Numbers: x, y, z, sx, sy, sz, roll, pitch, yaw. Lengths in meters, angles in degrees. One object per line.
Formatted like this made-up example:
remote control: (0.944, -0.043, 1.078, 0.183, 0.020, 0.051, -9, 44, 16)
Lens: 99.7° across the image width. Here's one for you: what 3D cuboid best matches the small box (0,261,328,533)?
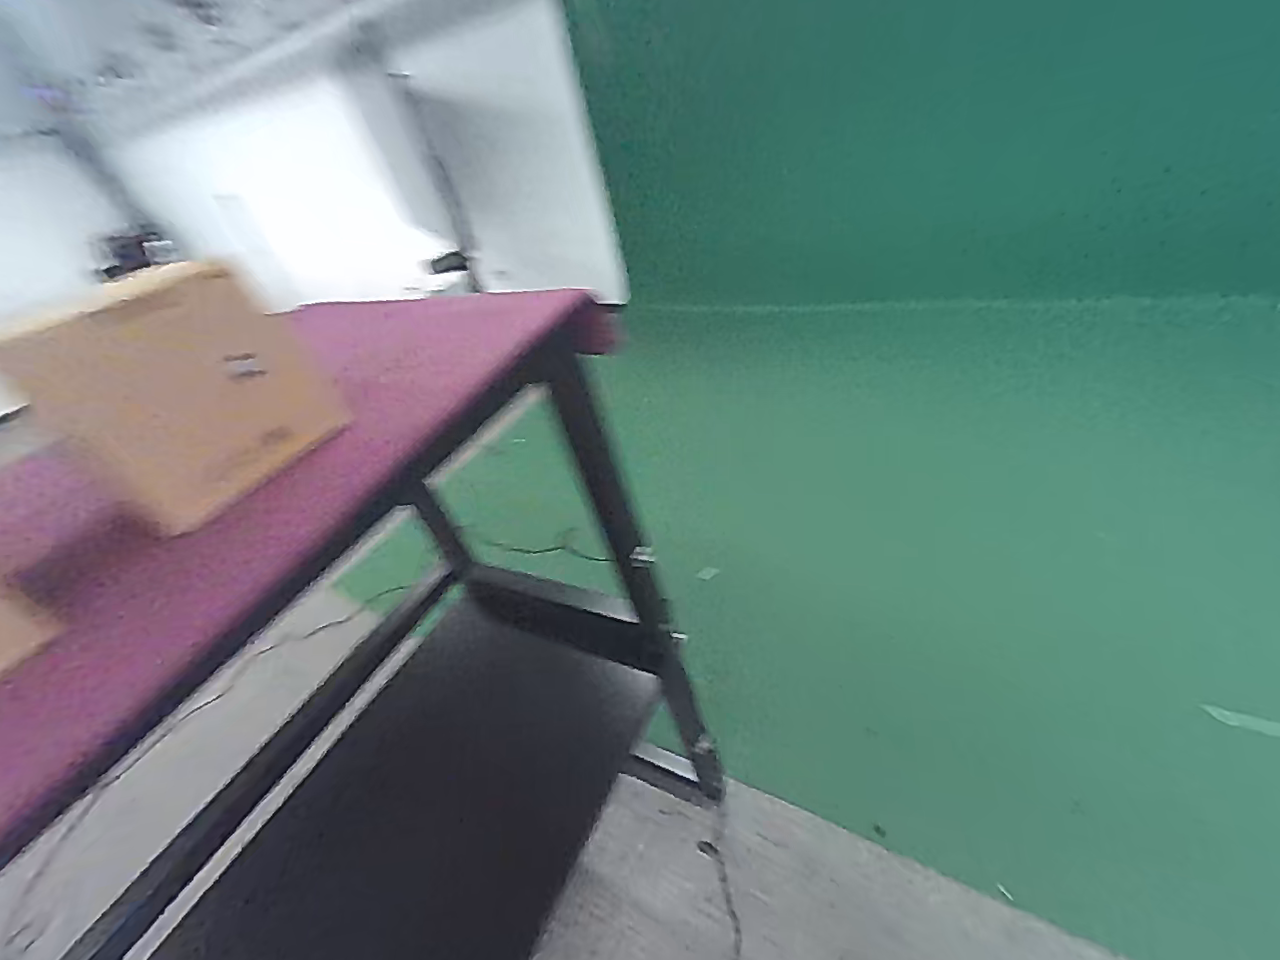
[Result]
small box: (-0.427, -0.075, 0.482, 0.179, 0.176, 0.168, 10, 45, 34)
